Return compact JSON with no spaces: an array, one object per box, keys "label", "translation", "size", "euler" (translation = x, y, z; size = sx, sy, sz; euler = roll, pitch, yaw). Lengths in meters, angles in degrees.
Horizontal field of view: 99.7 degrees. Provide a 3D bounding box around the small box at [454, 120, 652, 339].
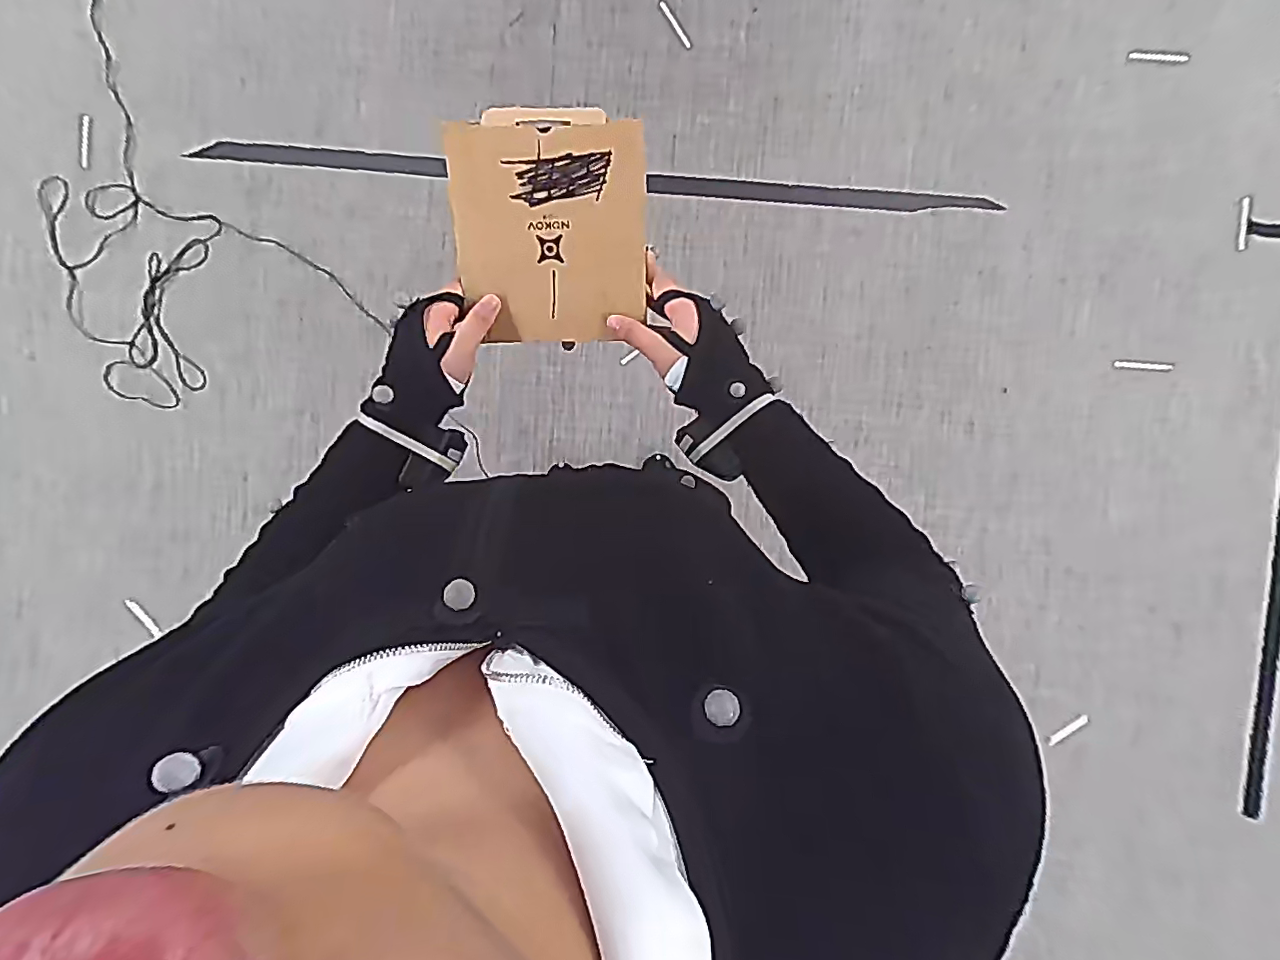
[{"label":"small box","translation":[-0.072,-0.237,0.546],"size":[0.168,0.176,0.179],"euler":[0,109,1]}]
